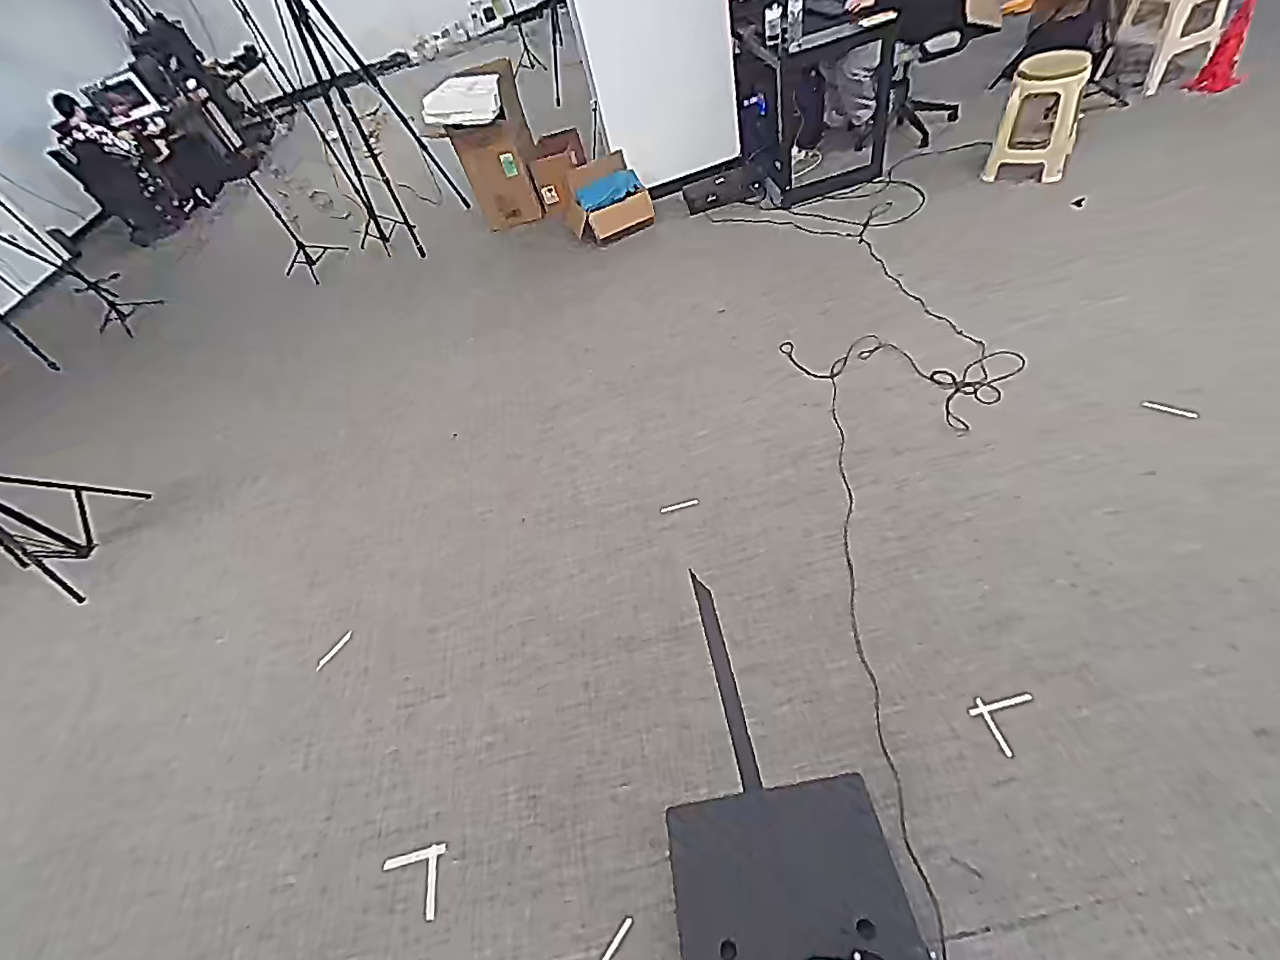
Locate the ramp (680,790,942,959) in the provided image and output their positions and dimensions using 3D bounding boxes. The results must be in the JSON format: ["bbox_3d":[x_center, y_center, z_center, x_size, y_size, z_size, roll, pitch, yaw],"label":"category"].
[{"bbox_3d":[0.372,1.109,0.930,0.509,0.206,0.991,-18,46,5],"label":"ramp"}]
